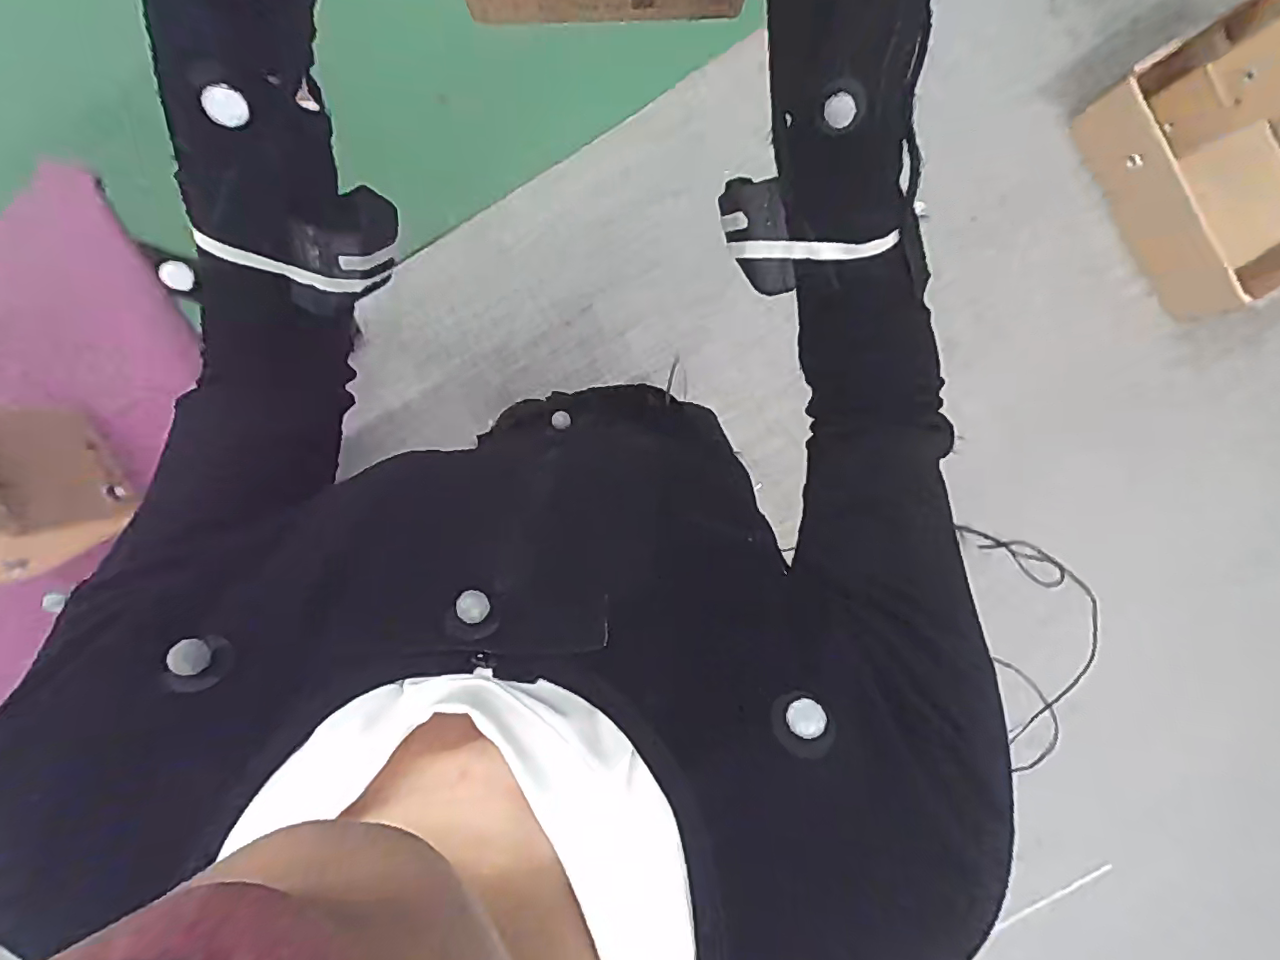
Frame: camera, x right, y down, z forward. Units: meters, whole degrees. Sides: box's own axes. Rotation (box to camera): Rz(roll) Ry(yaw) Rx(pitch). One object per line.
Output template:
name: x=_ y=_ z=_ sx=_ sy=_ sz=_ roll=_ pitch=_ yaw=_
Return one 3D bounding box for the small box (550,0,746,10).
small box: x=-0.010 y=-0.349 z=0.233 sx=0.168 sy=0.176 sz=0.179 roll=0 pitch=101 yaw=0

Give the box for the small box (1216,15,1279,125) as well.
small box: x=1.337 y=-0.865 z=1.078 sx=0.179 sy=0.176 sz=0.168 roll=-33 pitch=97 yaw=3

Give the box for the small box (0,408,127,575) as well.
small box: x=-0.783 y=0.018 z=0.649 sx=0.179 sy=0.176 sz=0.168 roll=-26 pitch=95 yaw=2

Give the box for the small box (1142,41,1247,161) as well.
small box: x=1.331 y=-0.883 z=1.240 sx=0.179 sy=0.176 sz=0.168 roll=-32 pitch=96 yaw=2
